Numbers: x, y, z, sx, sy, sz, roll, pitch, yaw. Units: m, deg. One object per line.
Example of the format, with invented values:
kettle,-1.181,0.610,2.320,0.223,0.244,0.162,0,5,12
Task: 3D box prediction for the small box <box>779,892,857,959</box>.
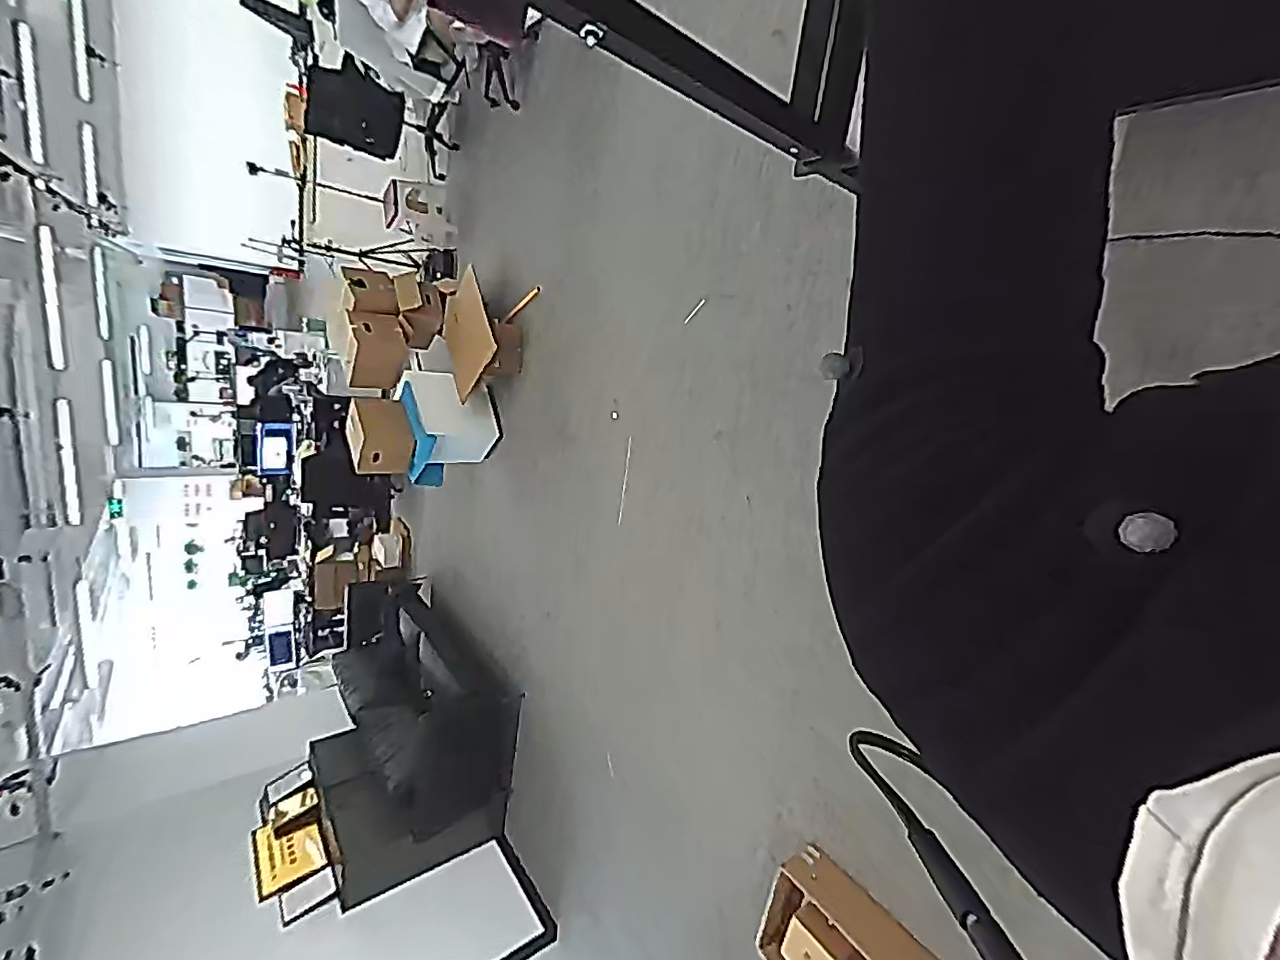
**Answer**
small box,0.600,1.543,1.809,0.168,0.176,0.179,28,114,46
